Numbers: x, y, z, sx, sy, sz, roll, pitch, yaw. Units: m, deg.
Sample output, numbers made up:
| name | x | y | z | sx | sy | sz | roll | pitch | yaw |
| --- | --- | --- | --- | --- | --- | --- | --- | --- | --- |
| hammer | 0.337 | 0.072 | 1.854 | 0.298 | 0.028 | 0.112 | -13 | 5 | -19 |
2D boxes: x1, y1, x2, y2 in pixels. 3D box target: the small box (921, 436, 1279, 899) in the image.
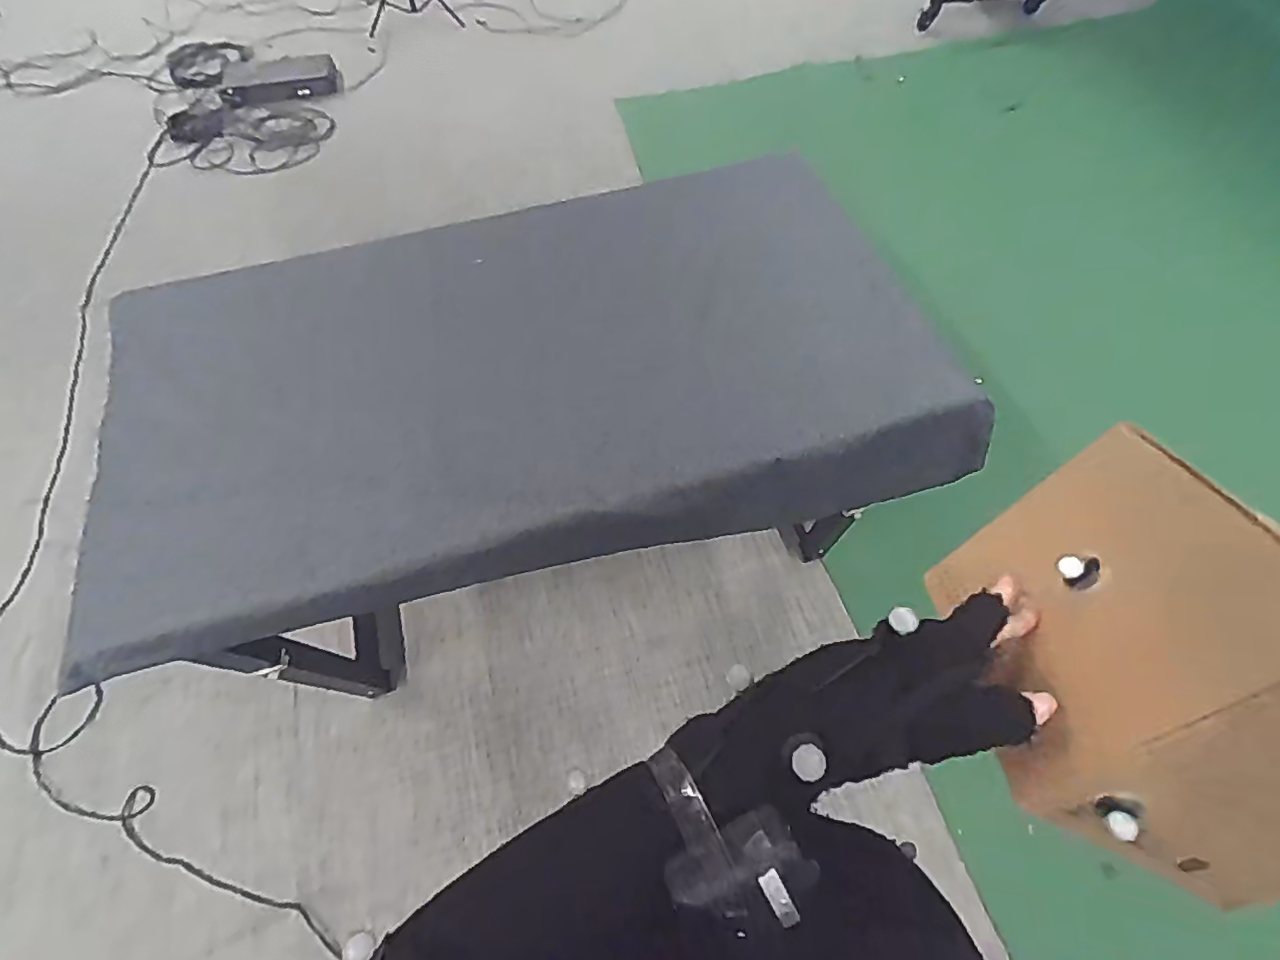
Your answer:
| name | x | y | z | sx | sy | sz | roll | pitch | yaw |
| --- | --- | --- | --- | --- | --- | --- | --- | --- | --- |
| small box | 0.314 | 0.111 | 0.329 | 0.168 | 0.176 | 0.179 | 30 | 31 | -9 |
